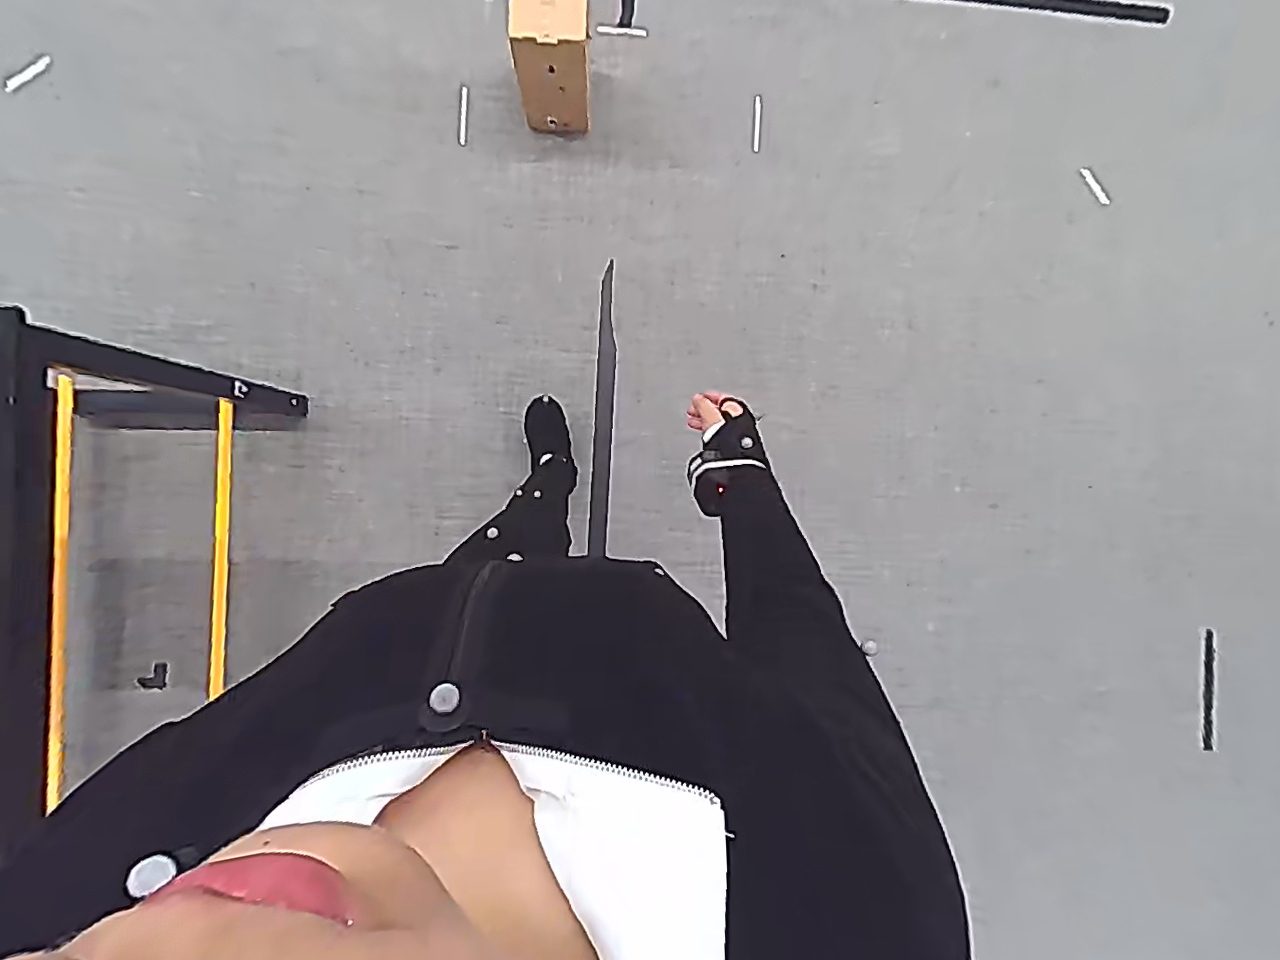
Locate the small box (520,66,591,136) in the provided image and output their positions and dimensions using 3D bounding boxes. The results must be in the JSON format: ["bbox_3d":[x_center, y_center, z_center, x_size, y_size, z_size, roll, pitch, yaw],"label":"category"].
[{"bbox_3d":[-0.211,-1.024,1.384,0.168,0.176,0.179,1,91,-3],"label":"small box"}]

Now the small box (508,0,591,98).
[{"bbox_3d":[-0.198,-1.006,1.221,0.168,0.176,0.179,2,91,-3],"label":"small box"}]
